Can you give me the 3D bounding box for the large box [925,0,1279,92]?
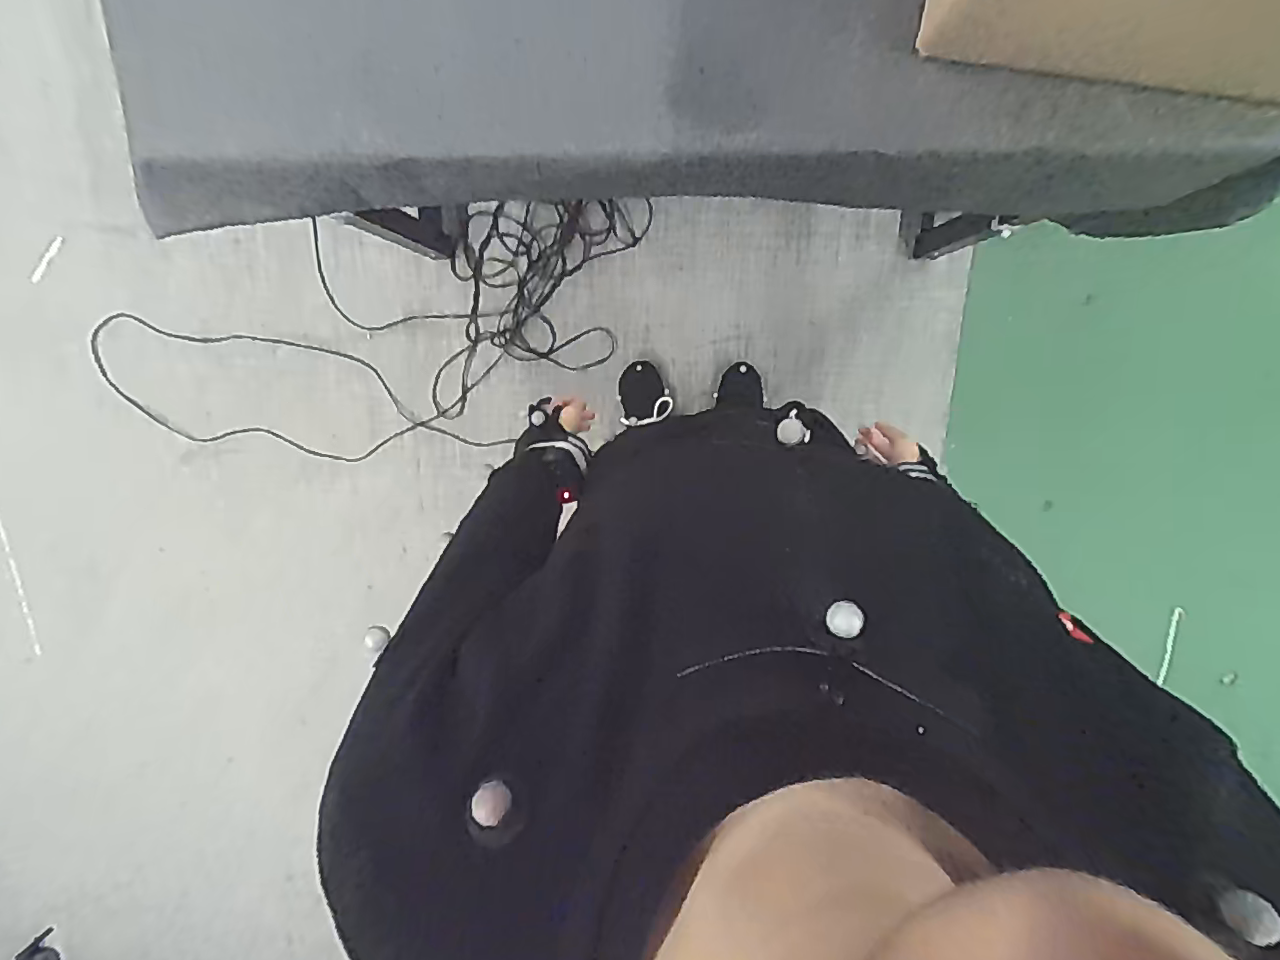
[{"bbox_3d":[0.479,-0.509,0.350,0.408,0.320,0.320,7,103,0],"label":"large box"}]
